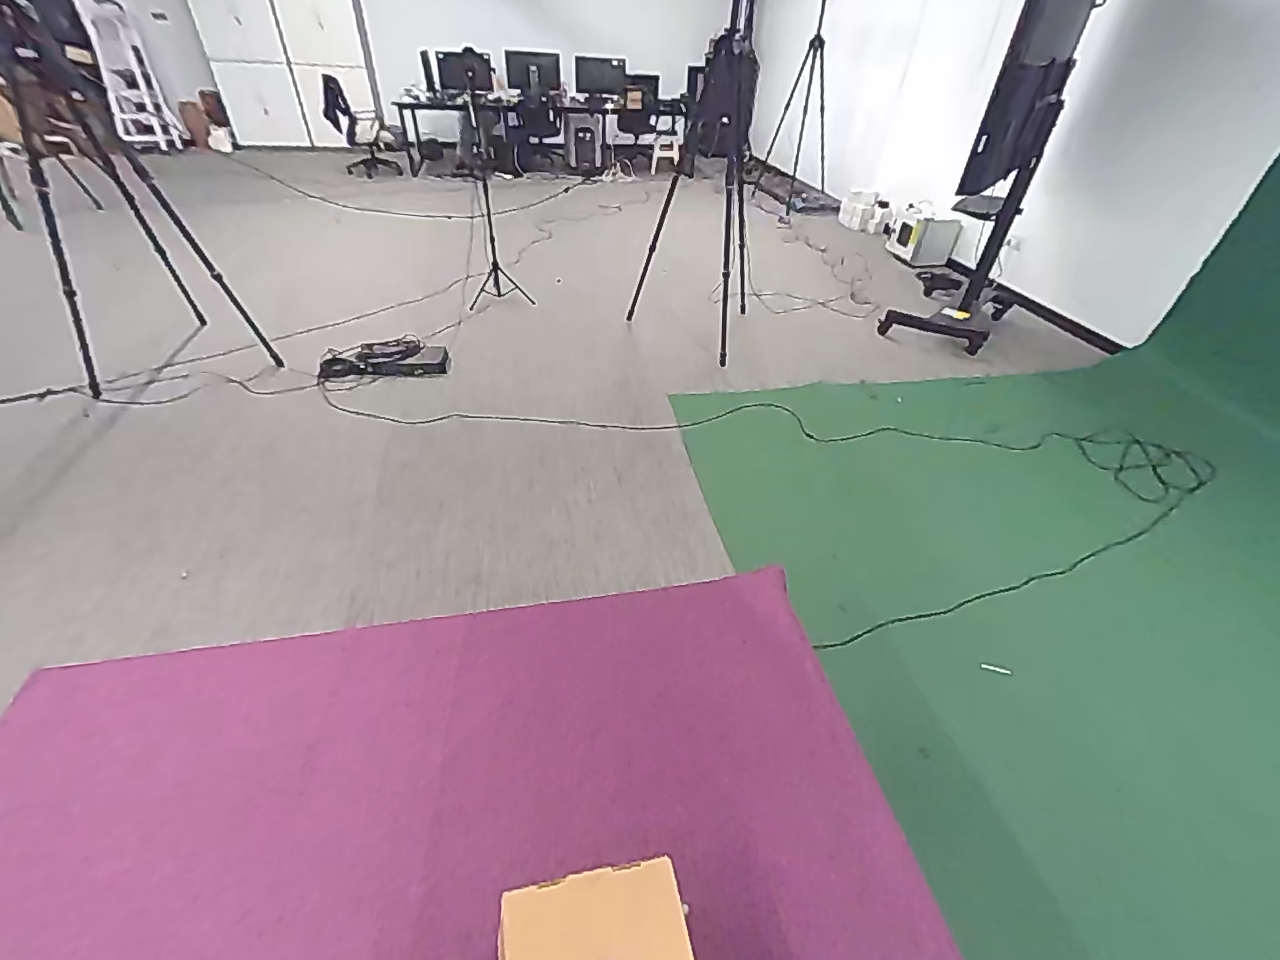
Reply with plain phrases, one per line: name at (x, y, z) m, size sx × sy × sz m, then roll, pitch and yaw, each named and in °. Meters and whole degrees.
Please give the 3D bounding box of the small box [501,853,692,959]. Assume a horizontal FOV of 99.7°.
small box at (-0.043, 0.494, 0.508) m, size 0.168 × 0.176 × 0.179 m, roll -1°, pitch 39°, yaw -16°
